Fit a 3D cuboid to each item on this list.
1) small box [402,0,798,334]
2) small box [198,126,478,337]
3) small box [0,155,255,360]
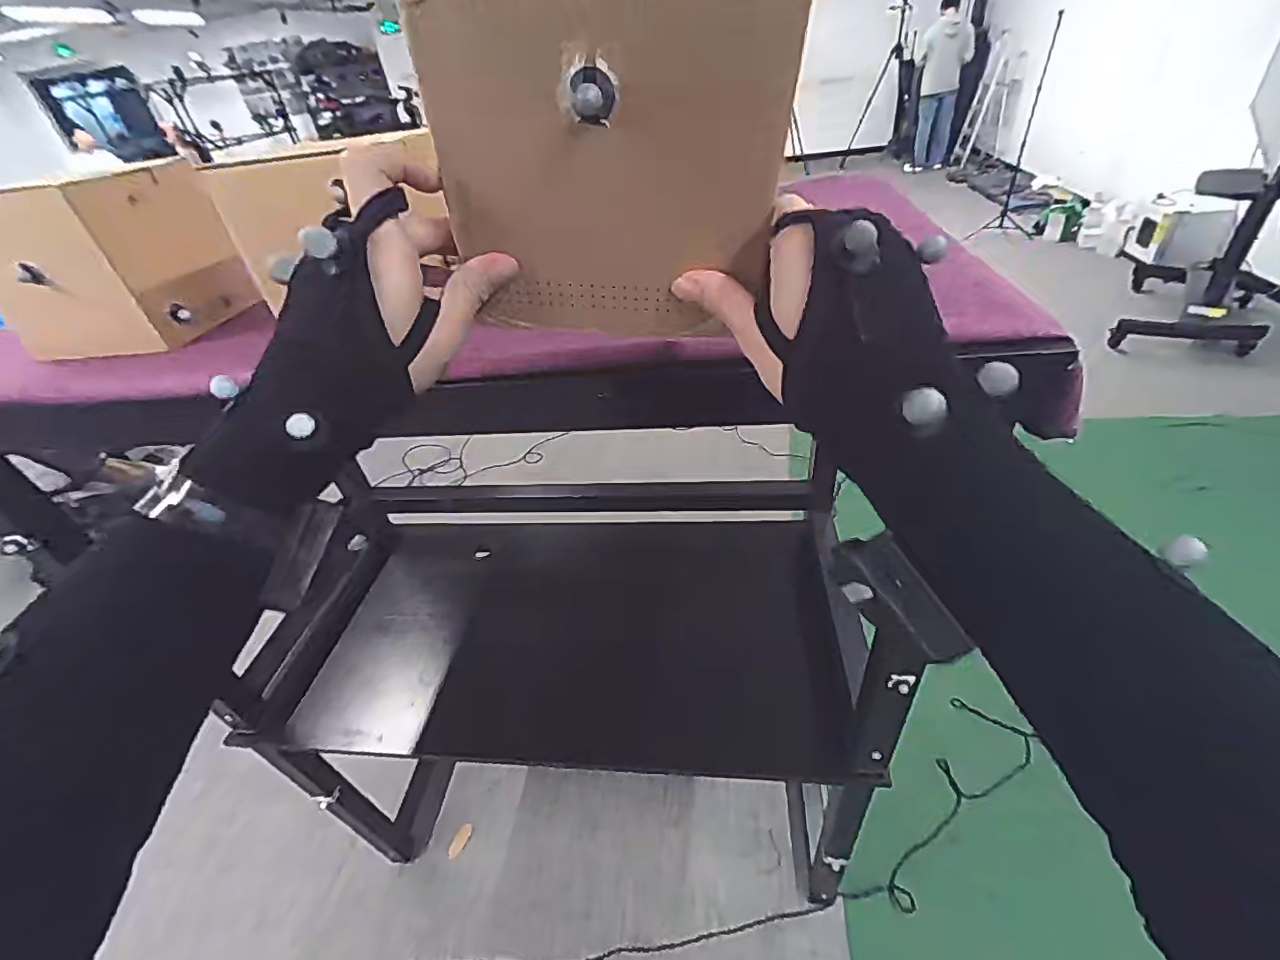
[{"bbox_3d":[-0.011,-0.206,0.335,0.179,0.176,0.168,4,47,4],"label":"small box"},{"bbox_3d":[-0.292,-0.262,0.577,0.179,0.176,0.168,-1,38,9],"label":"small box"},{"bbox_3d":[-0.599,-0.251,0.617,0.179,0.176,0.168,-3,38,8],"label":"small box"}]
